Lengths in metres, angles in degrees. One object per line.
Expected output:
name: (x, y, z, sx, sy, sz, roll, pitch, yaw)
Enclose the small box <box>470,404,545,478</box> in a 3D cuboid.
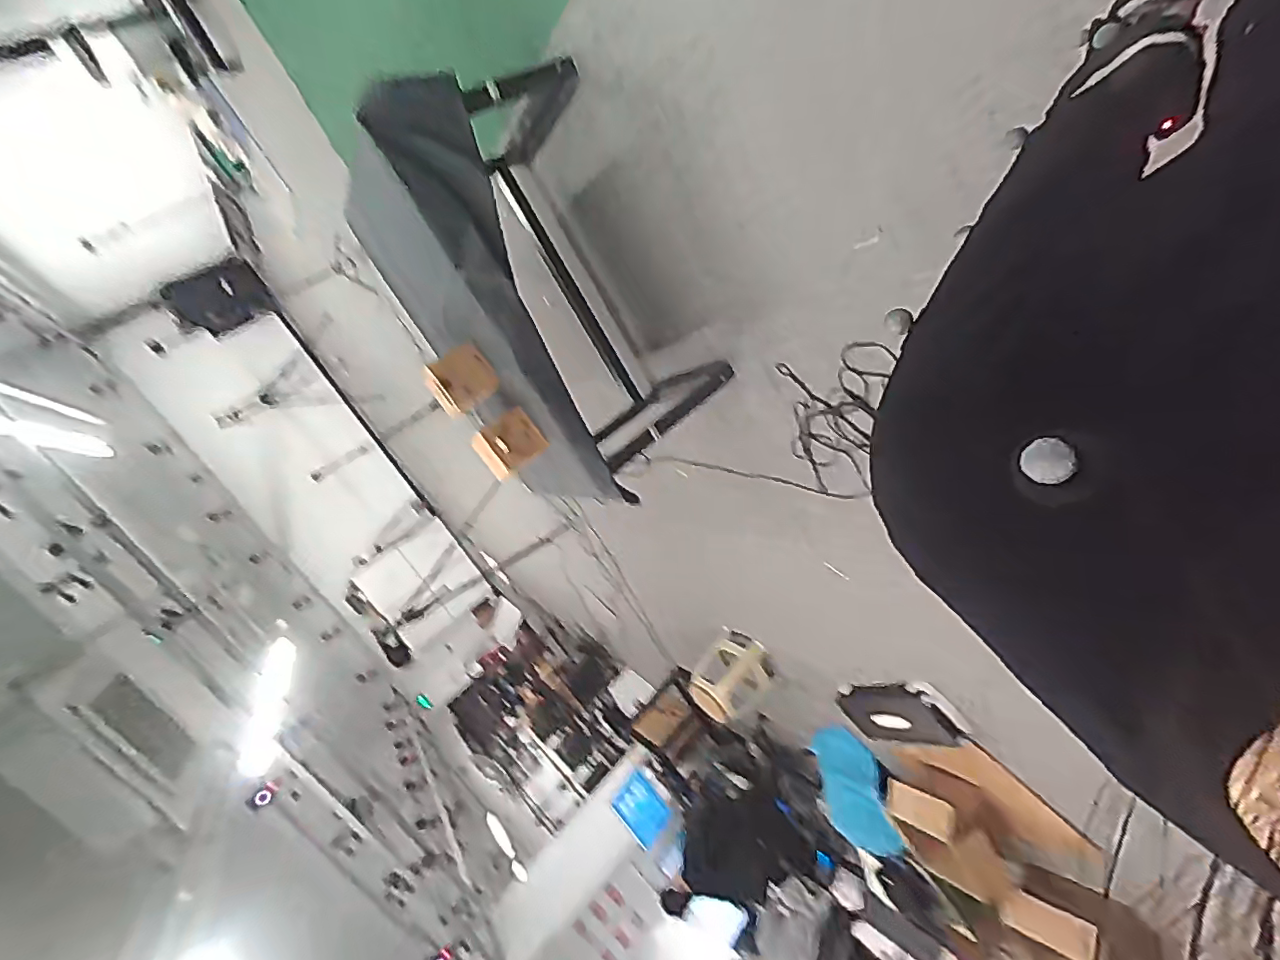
small box: (-0.442, -0.130, 1.814, 0.168, 0.176, 0.179, 54, 154, -6)
